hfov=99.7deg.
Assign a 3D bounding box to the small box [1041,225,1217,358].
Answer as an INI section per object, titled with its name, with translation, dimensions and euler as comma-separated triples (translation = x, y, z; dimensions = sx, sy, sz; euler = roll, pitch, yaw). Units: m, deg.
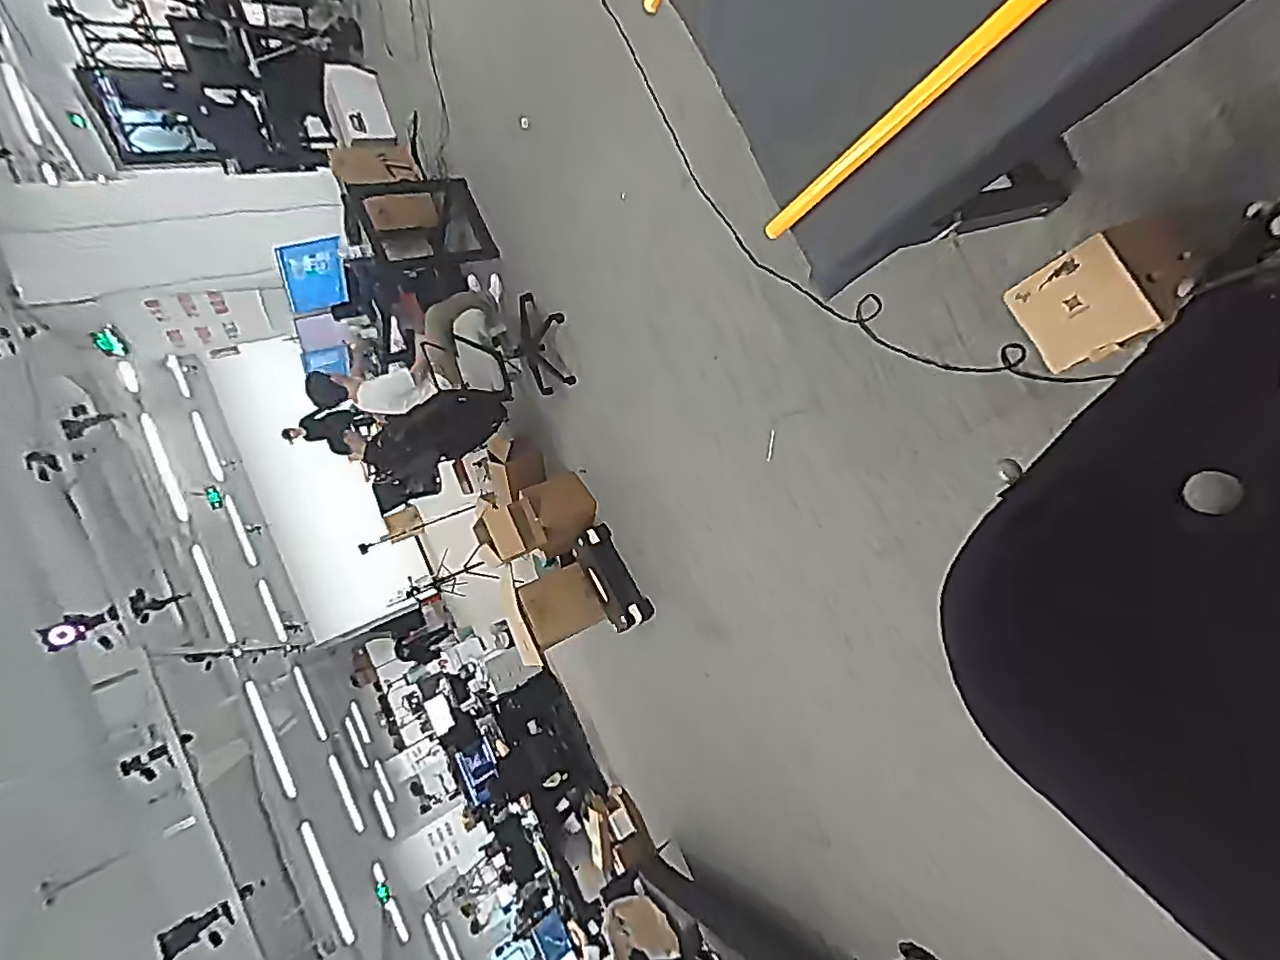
[small box]
translation = 0.927, -0.362, 1.029
dimensions = 0.179, 0.176, 0.168
euler = 62, 150, 10
